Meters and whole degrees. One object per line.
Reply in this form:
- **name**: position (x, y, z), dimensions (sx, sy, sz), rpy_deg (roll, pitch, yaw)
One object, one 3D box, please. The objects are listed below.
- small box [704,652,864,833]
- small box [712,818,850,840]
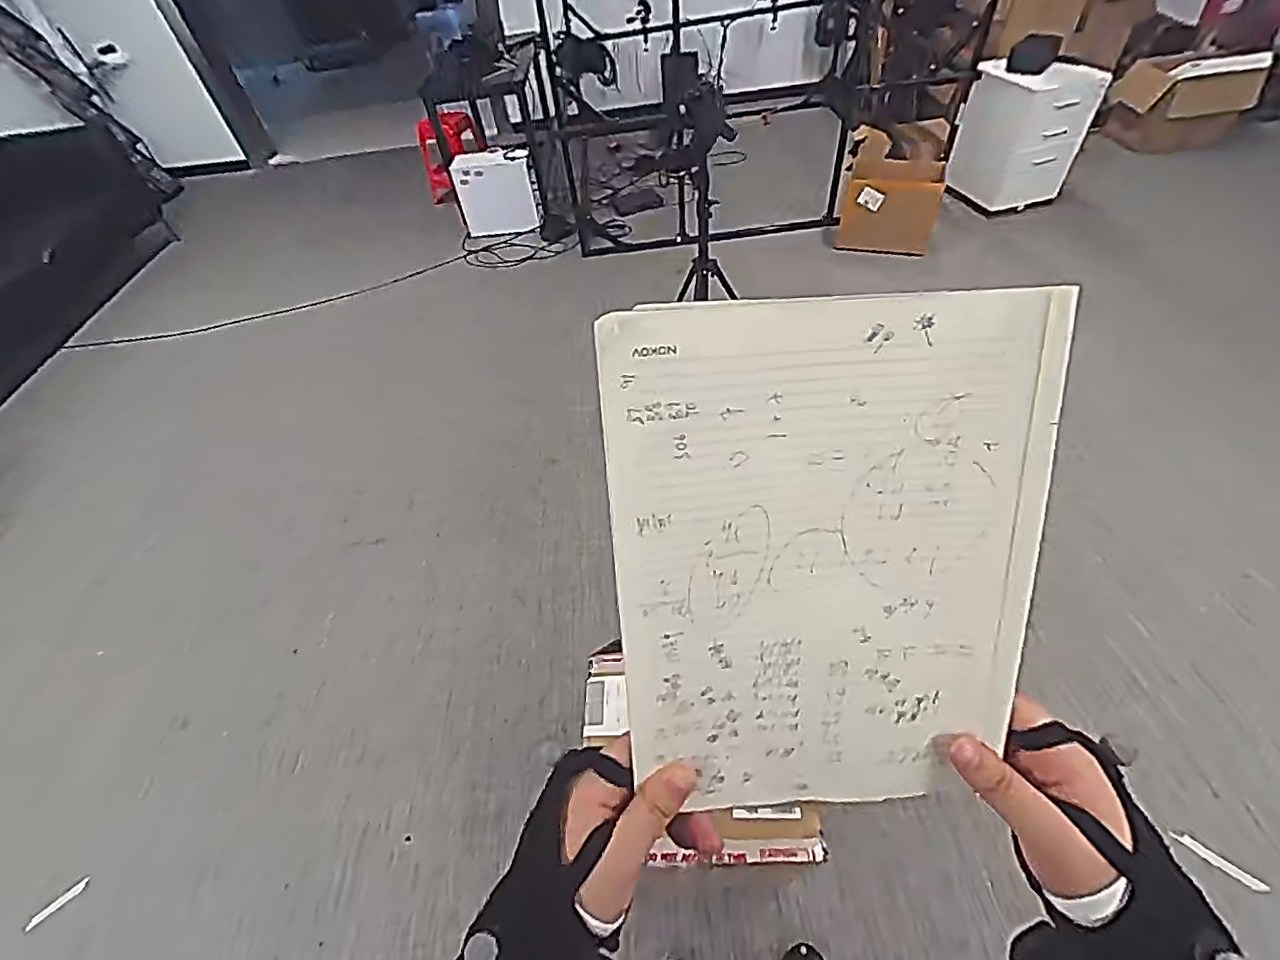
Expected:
- **small box**: position (0.171, 0.344, 0.708), dimensions (0.168, 0.176, 0.179), rpy_deg (1, 51, 4)
- **small box**: position (0.199, 0.447, 0.835), dimensions (0.179, 0.176, 0.168), rpy_deg (-3, 50, 2)
